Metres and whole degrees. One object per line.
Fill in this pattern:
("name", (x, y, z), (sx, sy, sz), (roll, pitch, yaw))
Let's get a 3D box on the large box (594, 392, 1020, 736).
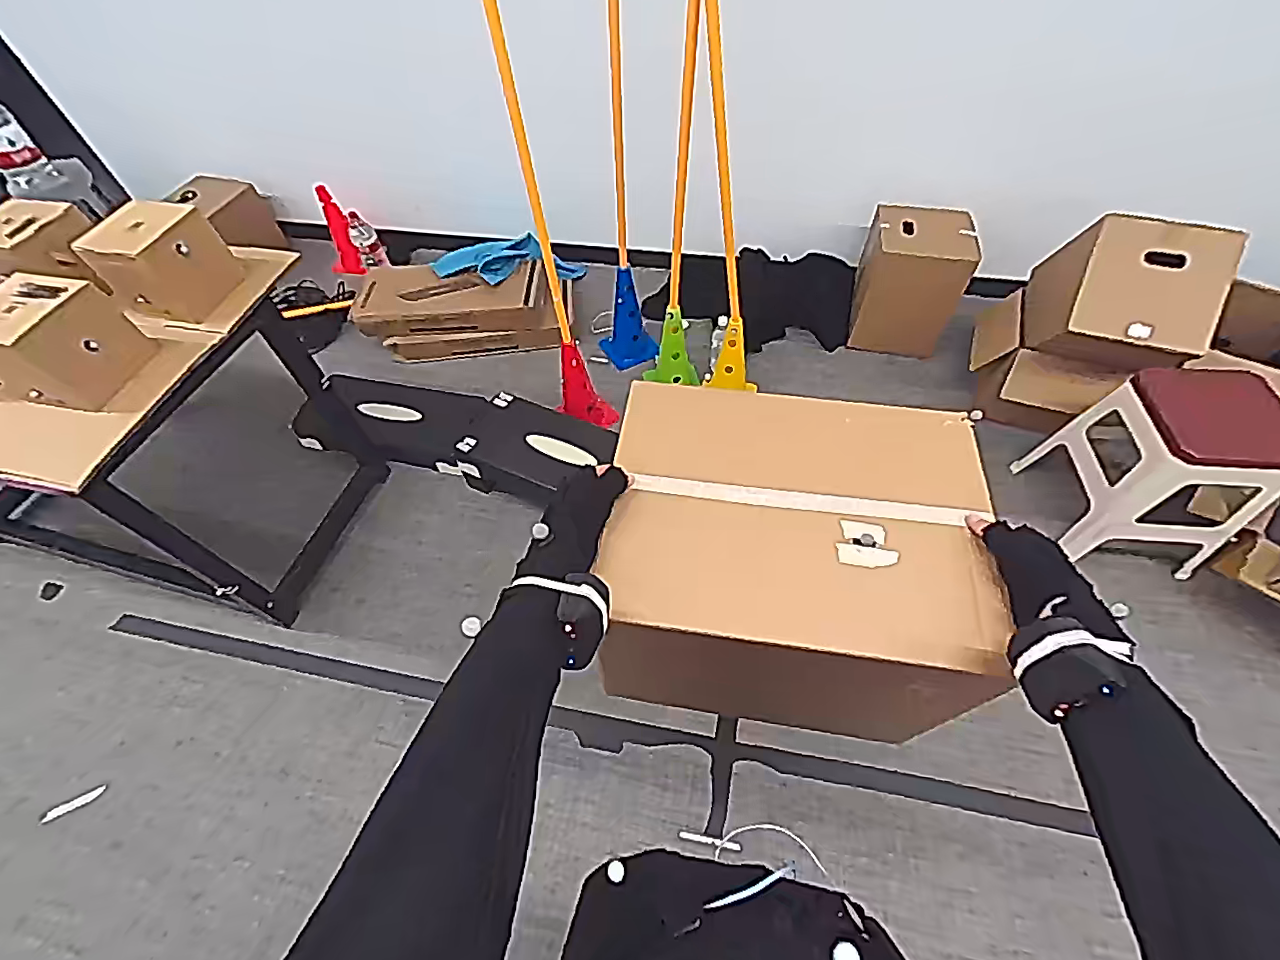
("large box", (0.173, 0.116, 0.711), (0.408, 0.320, 0.320), (7, 56, 6))
